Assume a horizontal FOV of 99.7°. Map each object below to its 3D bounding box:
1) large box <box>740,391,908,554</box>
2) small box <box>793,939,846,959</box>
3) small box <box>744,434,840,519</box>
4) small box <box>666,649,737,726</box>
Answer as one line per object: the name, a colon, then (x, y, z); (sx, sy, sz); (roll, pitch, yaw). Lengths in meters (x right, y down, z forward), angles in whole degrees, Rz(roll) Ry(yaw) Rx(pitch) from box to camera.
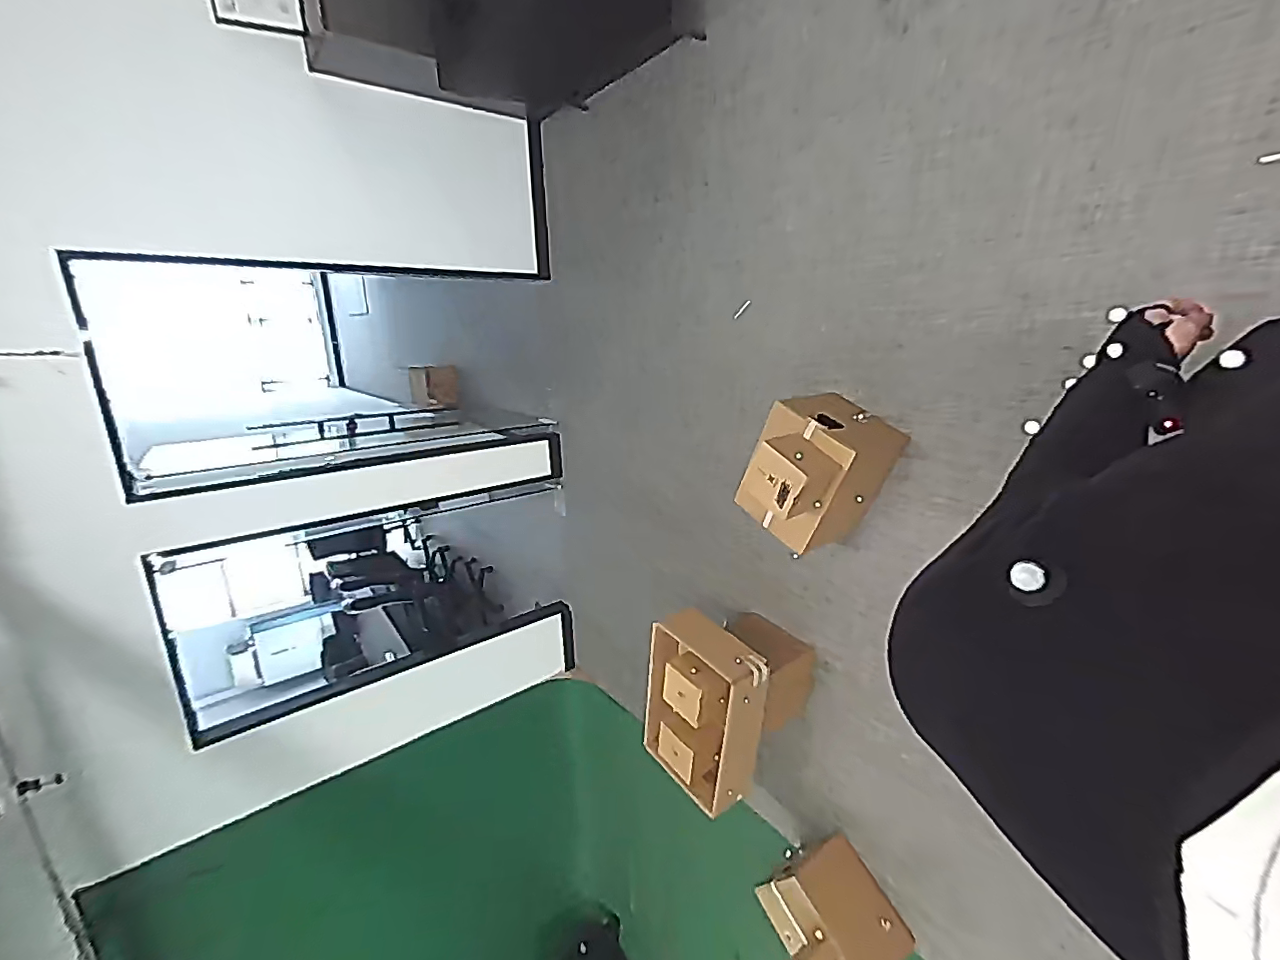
large box: (0.594, -0.037, 1.777); (0.320, 0.320, 0.408); (44, 134, 37)
small box: (0.626, 1.737, 1.865); (0.168, 0.176, 0.179); (54, 136, 28)
small box: (0.443, -0.018, 1.568); (0.179, 0.176, 0.168); (46, 134, 33)
small box: (0.218, 0.724, 1.918); (0.179, 0.176, 0.168); (27, 121, 45)
